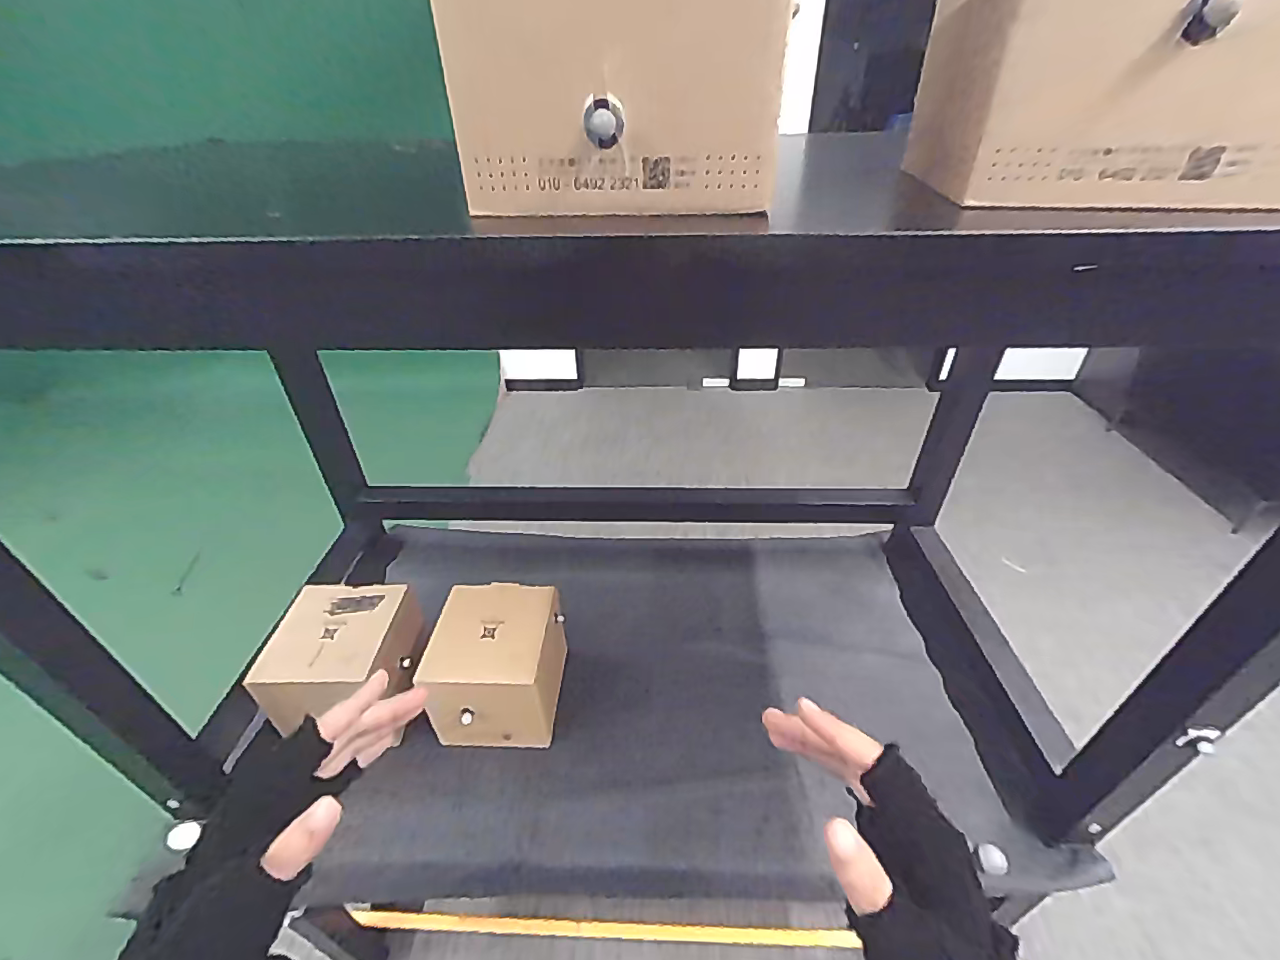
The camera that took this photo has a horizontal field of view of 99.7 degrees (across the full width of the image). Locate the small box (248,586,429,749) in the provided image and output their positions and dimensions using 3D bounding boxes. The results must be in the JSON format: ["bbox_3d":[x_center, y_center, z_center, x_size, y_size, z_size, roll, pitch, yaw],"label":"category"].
[{"bbox_3d":[-0.438,0.283,0.827,0.168,0.176,0.179,-1,36,0],"label":"small box"}]

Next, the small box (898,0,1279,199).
[{"bbox_3d":[0.265,-0.263,0.306,0.168,0.176,0.179,6,36,9],"label":"small box"}]

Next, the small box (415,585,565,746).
[{"bbox_3d":[-0.212,0.282,0.824,0.168,0.176,0.179,0,35,2],"label":"small box"}]
